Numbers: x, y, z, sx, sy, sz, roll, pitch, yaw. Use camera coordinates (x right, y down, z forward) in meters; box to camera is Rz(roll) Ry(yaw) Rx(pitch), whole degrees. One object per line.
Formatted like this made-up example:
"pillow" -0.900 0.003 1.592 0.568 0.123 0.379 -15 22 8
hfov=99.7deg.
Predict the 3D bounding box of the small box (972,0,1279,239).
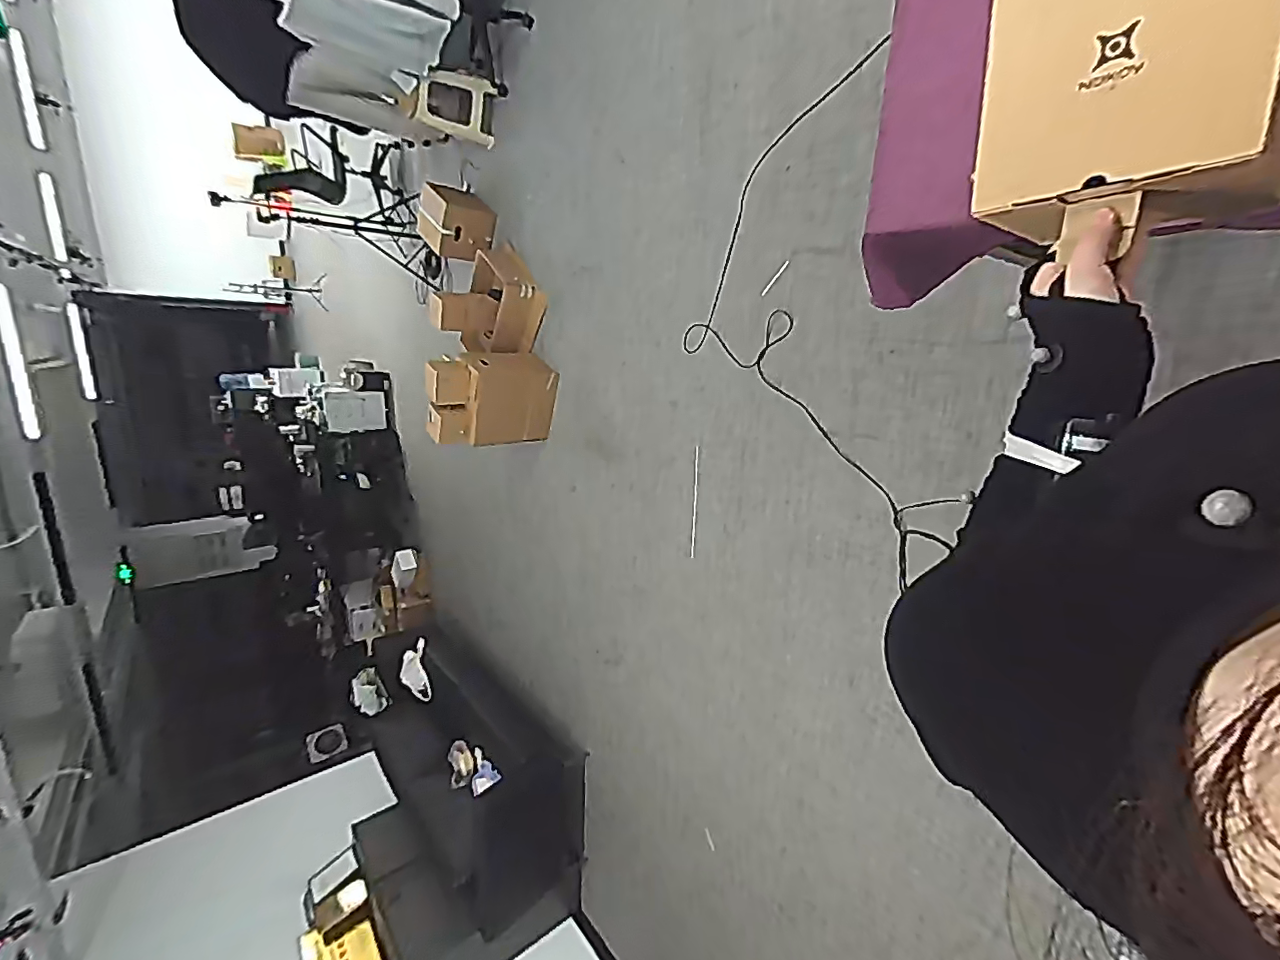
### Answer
"small box" 0.402 -0.312 0.439 0.168 0.176 0.179 14 109 51
